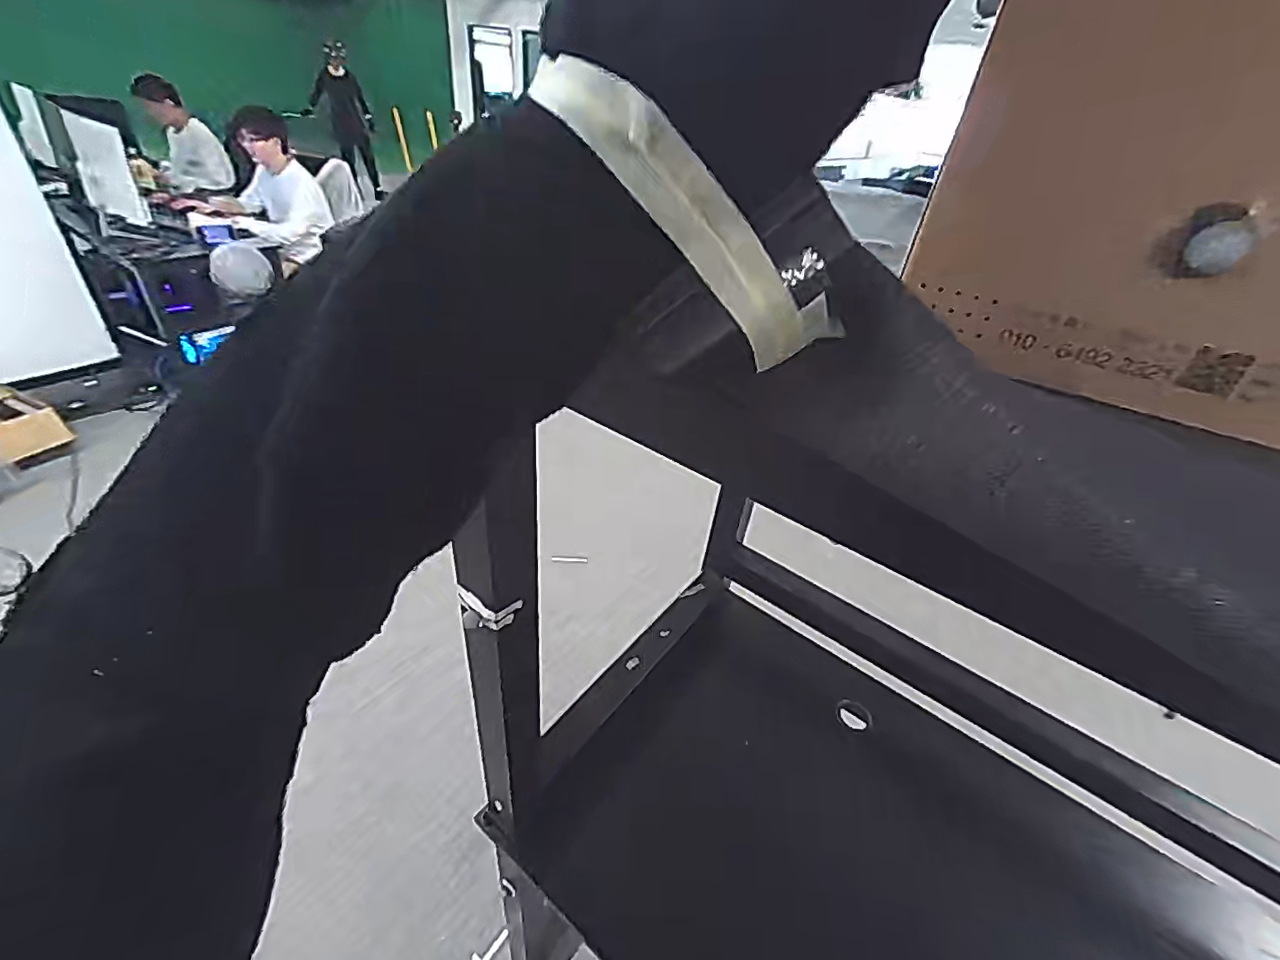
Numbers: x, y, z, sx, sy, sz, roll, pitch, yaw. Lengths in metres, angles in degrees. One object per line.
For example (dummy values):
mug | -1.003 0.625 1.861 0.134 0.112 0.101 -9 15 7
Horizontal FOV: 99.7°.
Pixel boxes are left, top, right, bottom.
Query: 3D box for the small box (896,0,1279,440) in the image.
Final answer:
small box | 0.221 -0.137 0.213 0.168 0.176 0.179 22 37 20
